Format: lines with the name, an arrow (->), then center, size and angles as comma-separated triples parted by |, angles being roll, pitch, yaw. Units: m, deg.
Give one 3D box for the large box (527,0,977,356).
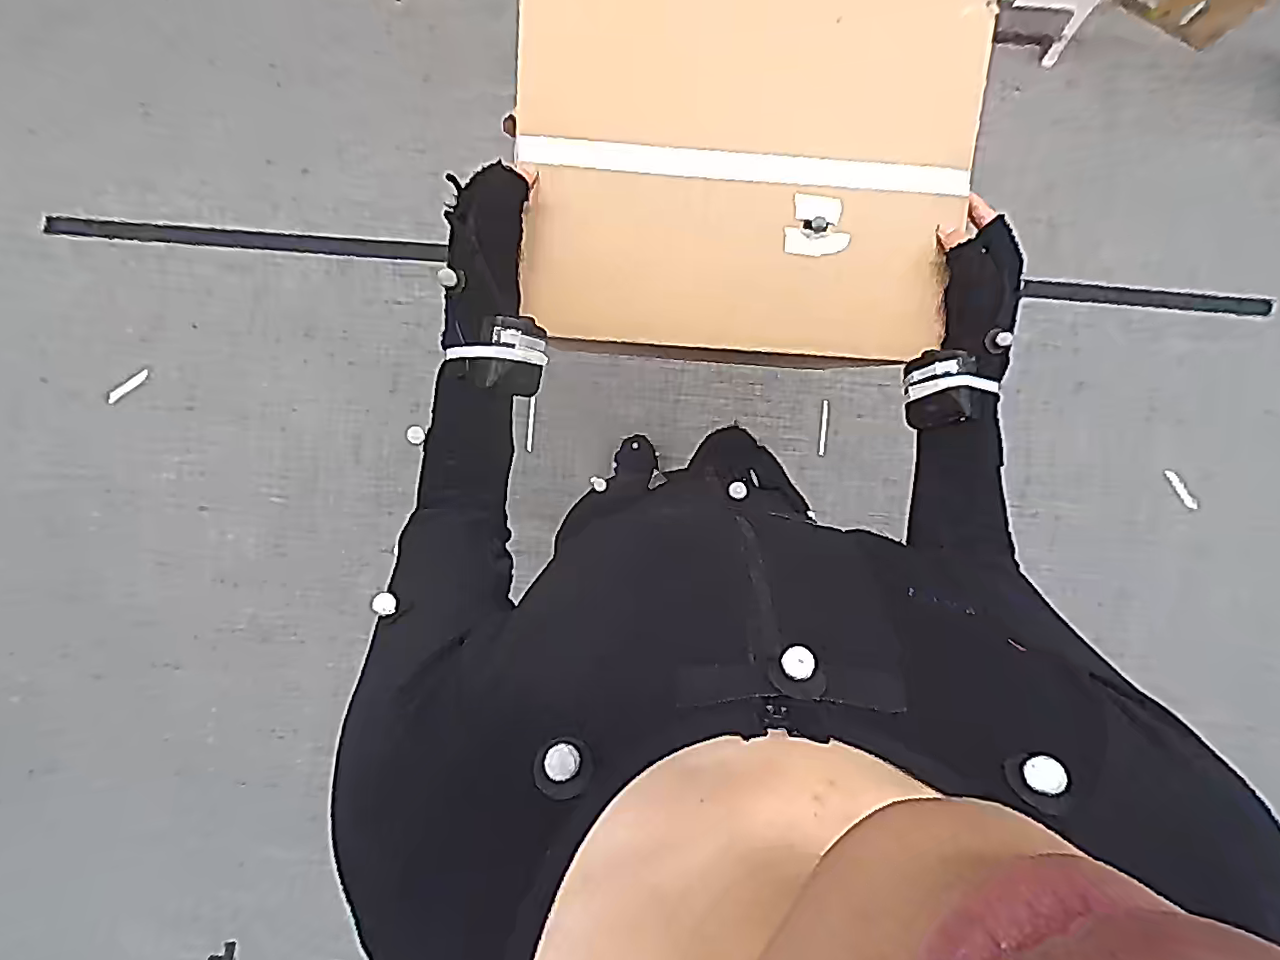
large box -> 0.089, -0.320, 0.644 | 0.408, 0.320, 0.320 | 3, 101, -3
